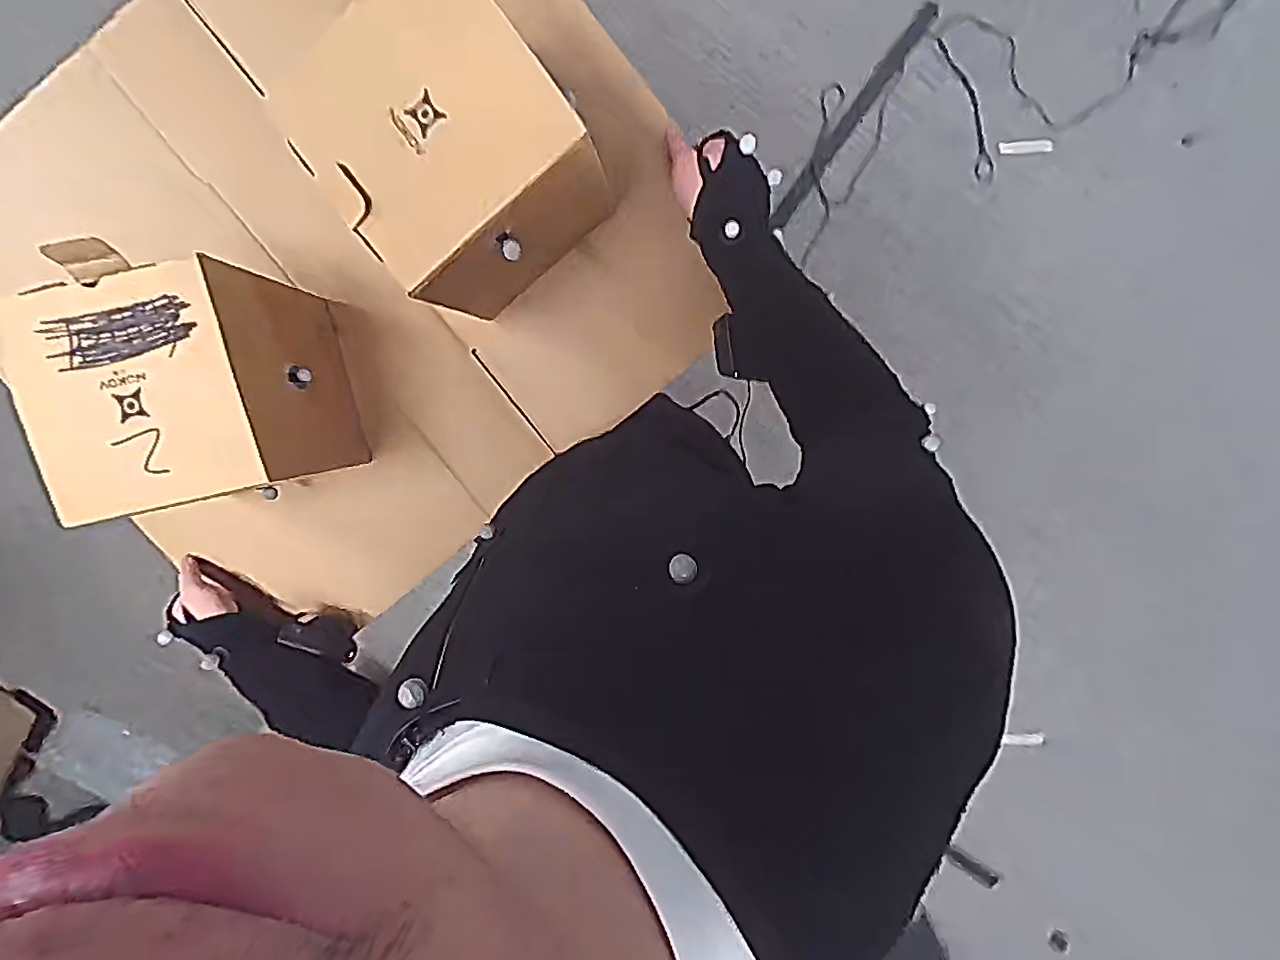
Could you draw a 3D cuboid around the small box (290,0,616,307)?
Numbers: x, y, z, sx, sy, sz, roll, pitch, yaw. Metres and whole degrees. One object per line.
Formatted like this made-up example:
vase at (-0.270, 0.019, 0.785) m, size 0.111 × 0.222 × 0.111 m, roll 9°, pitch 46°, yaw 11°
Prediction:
small box at (-0.134, -0.273, 0.465) m, size 0.179 × 0.176 × 0.168 m, roll -36°, pitch 96°, yaw 11°
